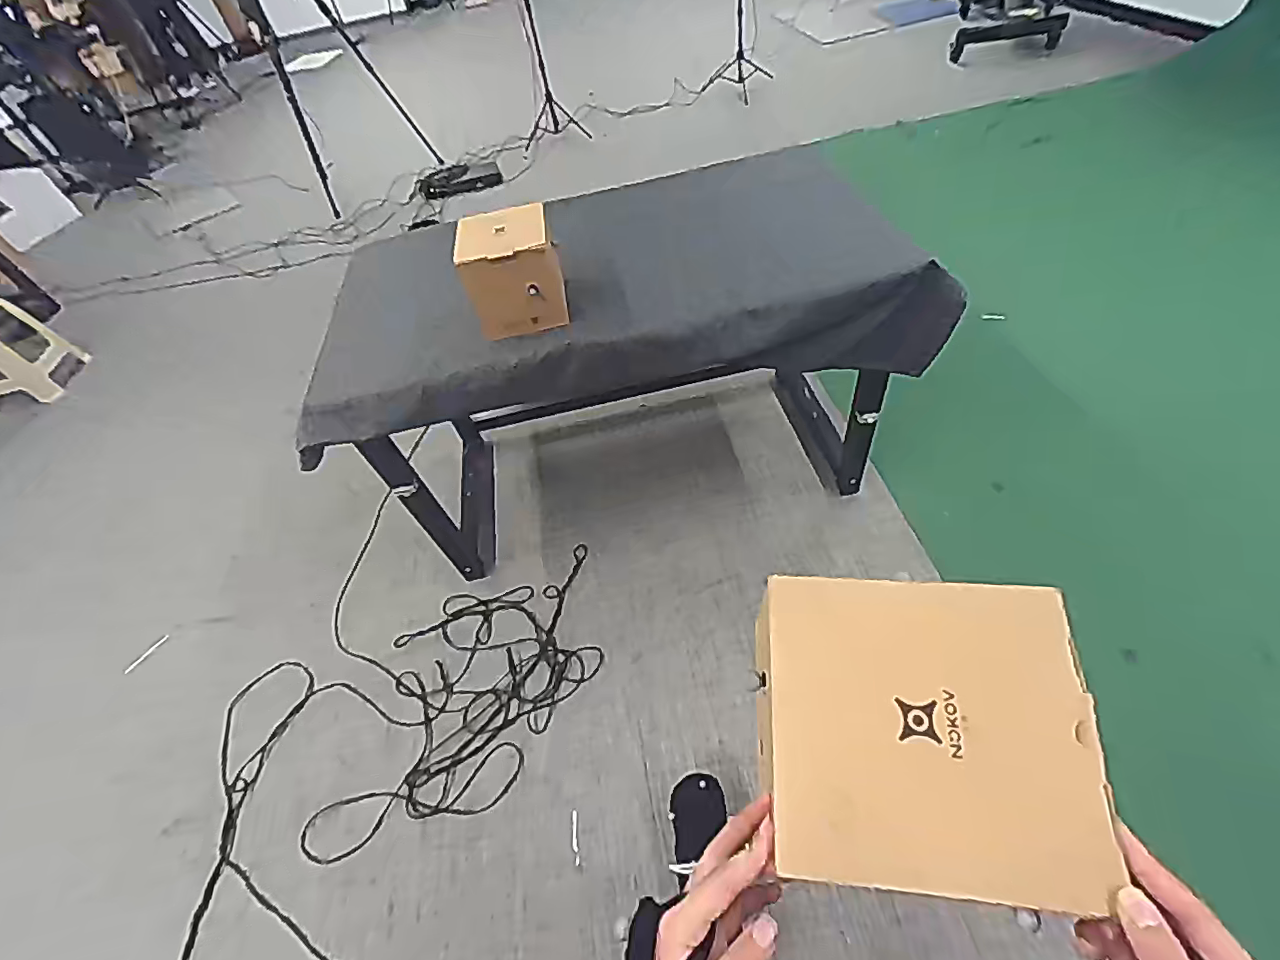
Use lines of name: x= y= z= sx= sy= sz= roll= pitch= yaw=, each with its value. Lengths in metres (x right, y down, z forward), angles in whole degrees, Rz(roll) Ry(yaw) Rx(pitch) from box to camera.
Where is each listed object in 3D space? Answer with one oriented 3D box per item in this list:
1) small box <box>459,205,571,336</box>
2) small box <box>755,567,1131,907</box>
small box: x=-0.234 y=-0.395 z=1.042 sx=0.168 sy=0.176 sz=0.179 roll=-11 pitch=49 yaw=-1
small box: x=0.174 y=0.168 z=0.382 sx=0.179 sy=0.176 sz=0.168 roll=2 pitch=65 yaw=9
